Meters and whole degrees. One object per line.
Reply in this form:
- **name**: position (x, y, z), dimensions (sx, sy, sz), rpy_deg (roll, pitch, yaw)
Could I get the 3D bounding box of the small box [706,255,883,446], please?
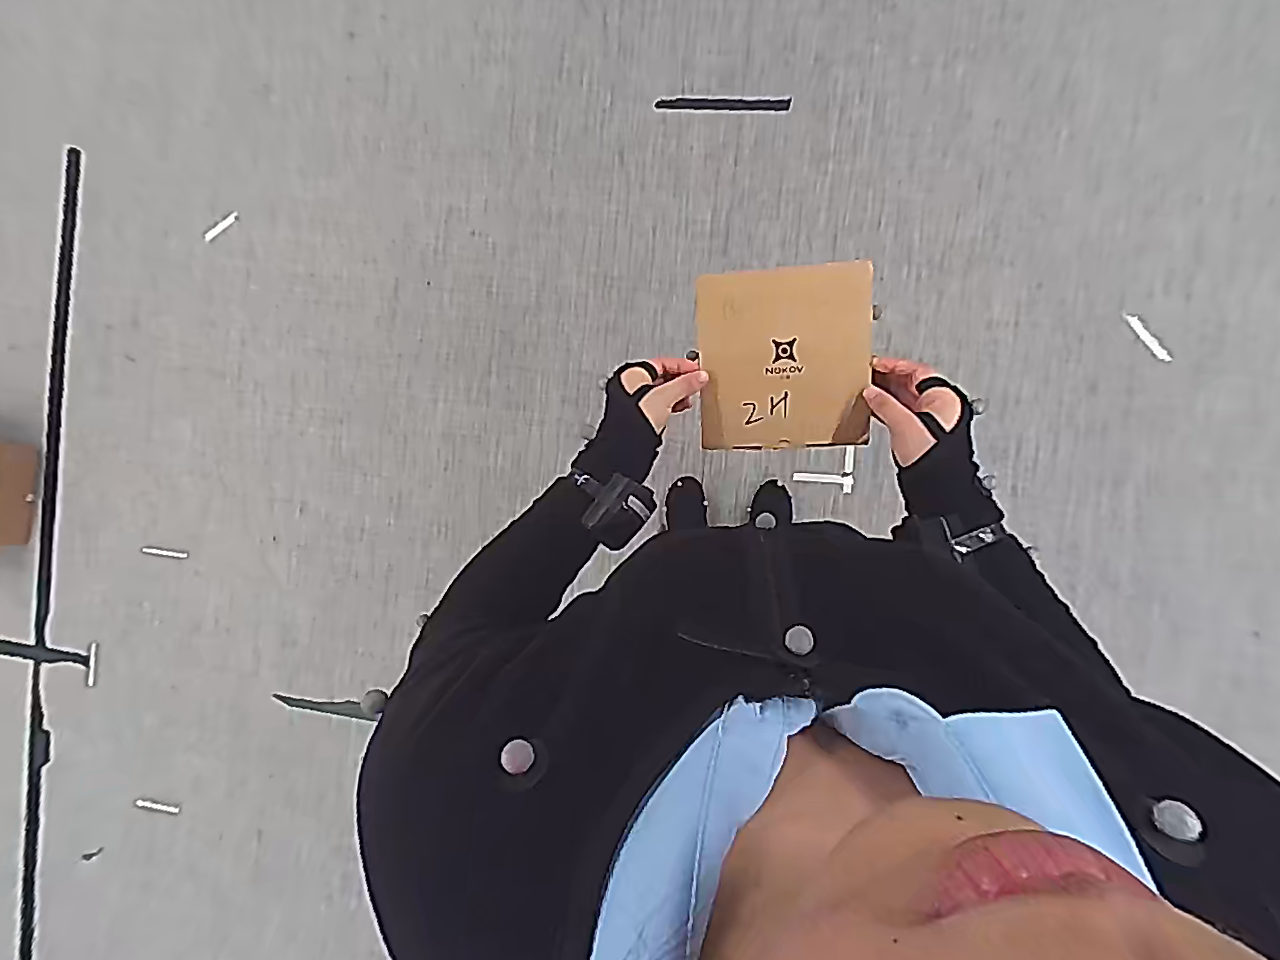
- **small box**: position (0.158, -0.135, 0.597), dimensions (0.168, 0.176, 0.179), rpy_deg (-1, 101, 10)
